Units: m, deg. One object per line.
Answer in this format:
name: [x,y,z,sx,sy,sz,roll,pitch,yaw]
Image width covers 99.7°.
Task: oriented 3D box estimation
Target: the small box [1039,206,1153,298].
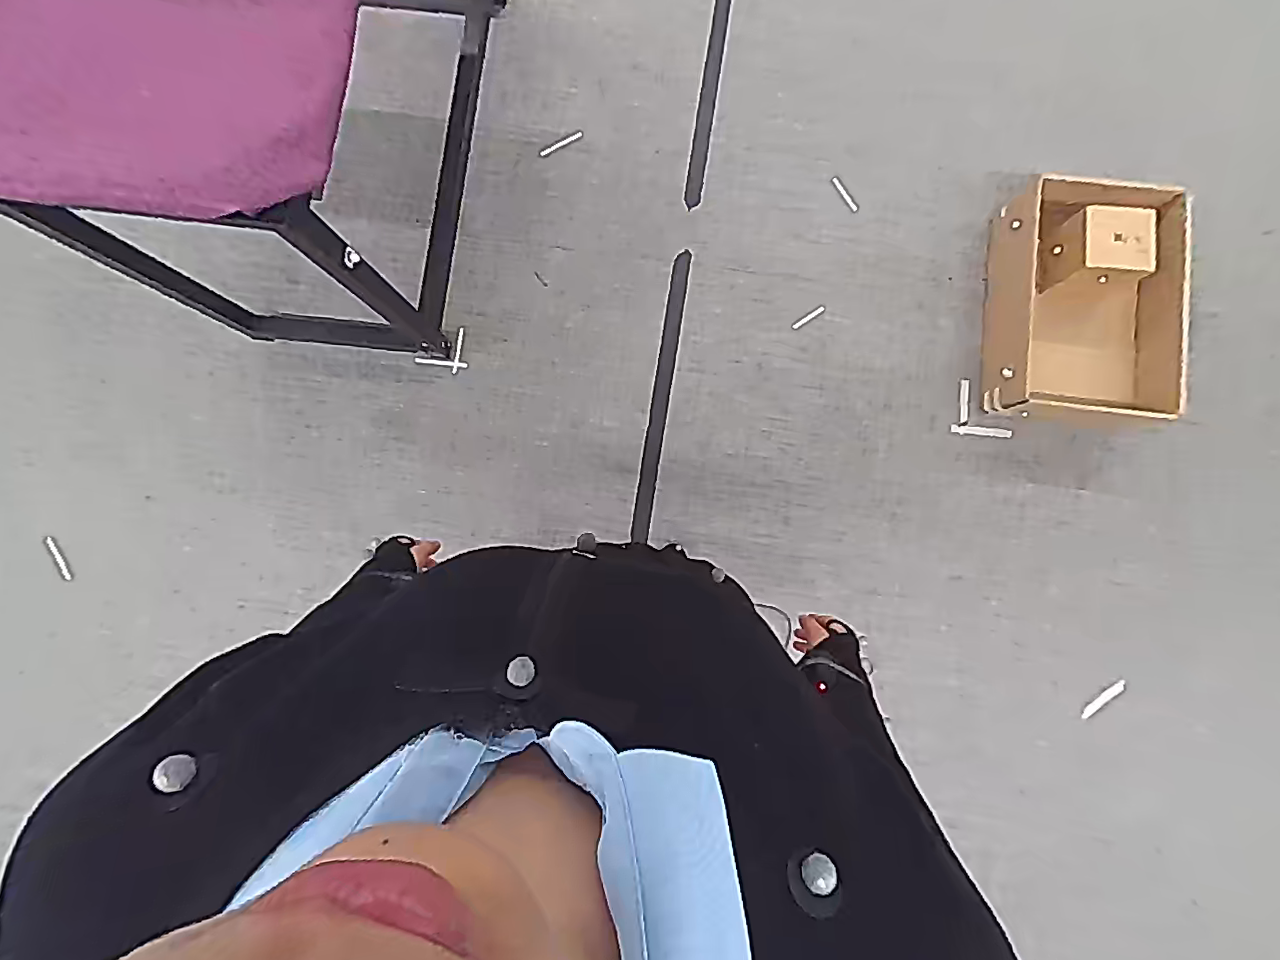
small box: [1.212,-0.604,1.450,0.179,0.176,0.168,5,86,1]
